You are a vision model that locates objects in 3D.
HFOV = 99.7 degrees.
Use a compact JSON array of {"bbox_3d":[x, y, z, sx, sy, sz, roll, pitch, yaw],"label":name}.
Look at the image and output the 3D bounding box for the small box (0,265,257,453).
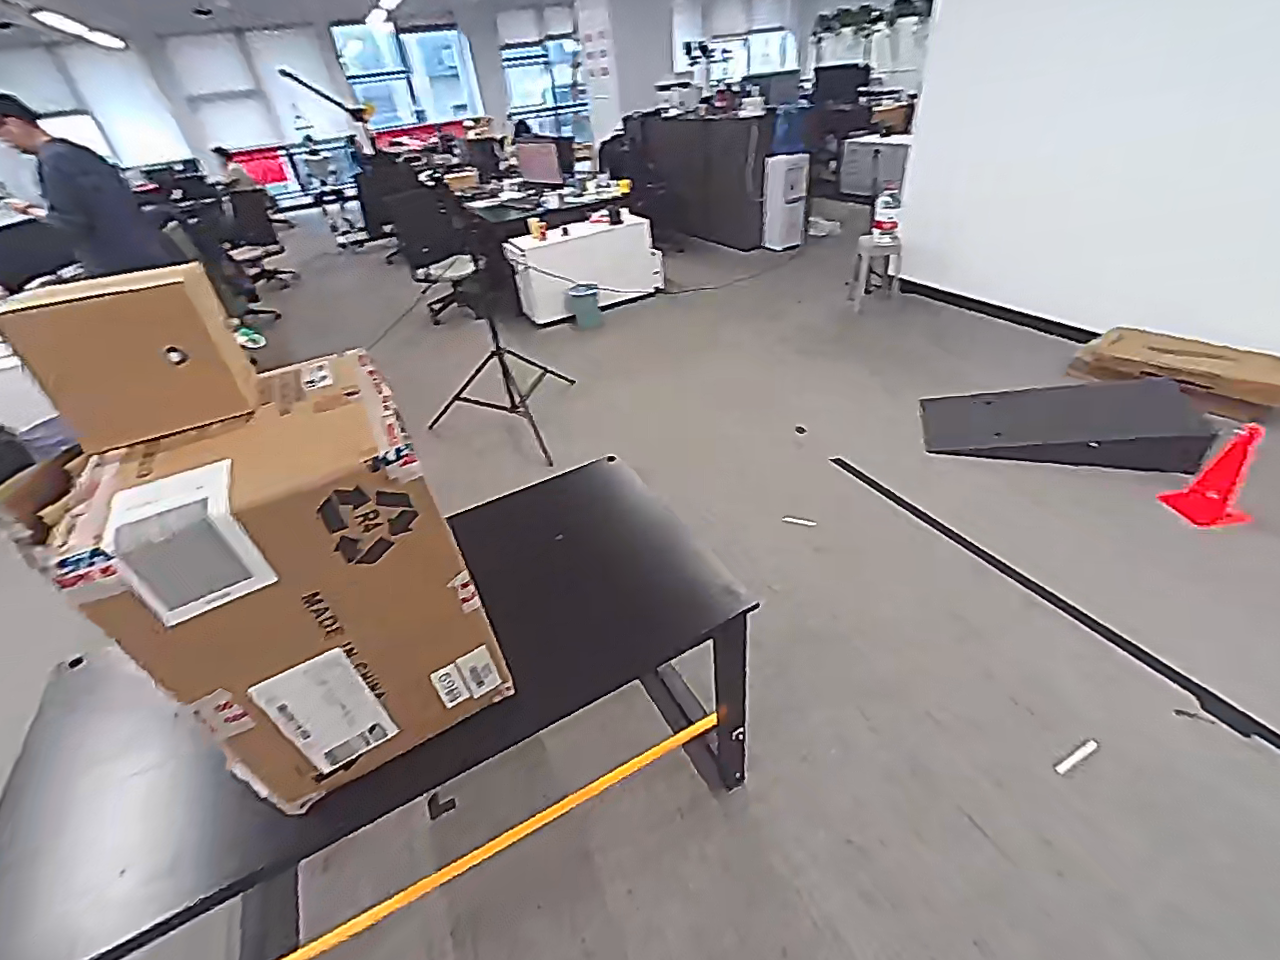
[{"bbox_3d":[-0.622,-0.159,0.688,0.179,0.176,0.168,-24,36,-22],"label":"small box"}]
